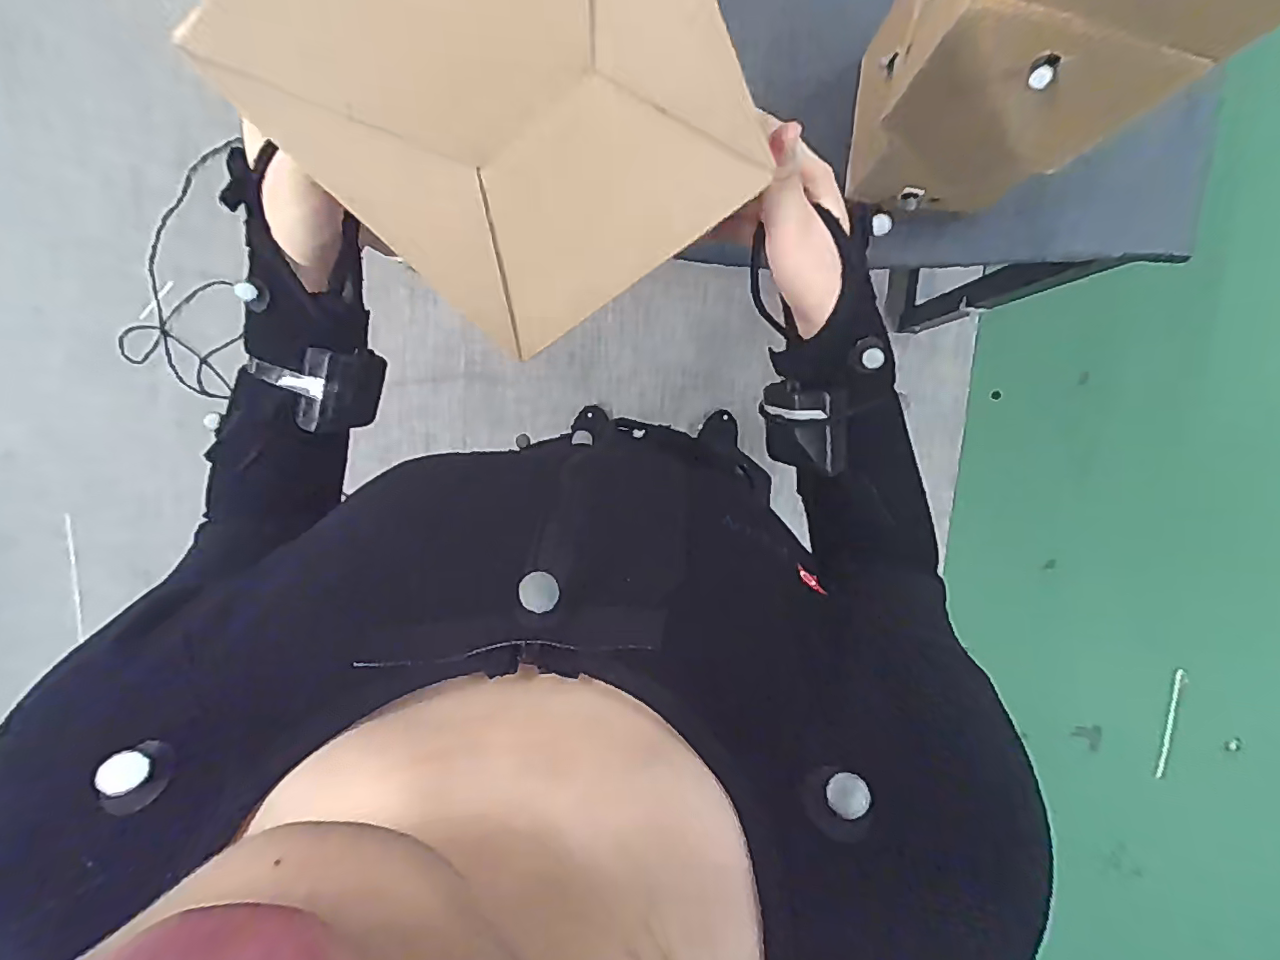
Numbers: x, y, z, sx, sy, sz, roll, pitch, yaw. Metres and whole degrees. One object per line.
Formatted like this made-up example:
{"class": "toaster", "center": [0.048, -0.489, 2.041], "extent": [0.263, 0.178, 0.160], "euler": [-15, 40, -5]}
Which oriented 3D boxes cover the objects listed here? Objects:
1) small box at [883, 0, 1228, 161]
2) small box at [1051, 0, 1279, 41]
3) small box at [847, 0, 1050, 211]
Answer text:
{"class": "small box", "center": [0.332, -0.390, 0.434], "extent": [0.179, 0.176, 0.168], "euler": [17, 97, 2]}
{"class": "small box", "center": [0.325, -0.374, 0.270], "extent": [0.179, 0.176, 0.168], "euler": [18, 97, 2]}
{"class": "small box", "center": [0.342, -0.424, 0.593], "extent": [0.168, 0.176, 0.179], "euler": [6, 97, 3]}
